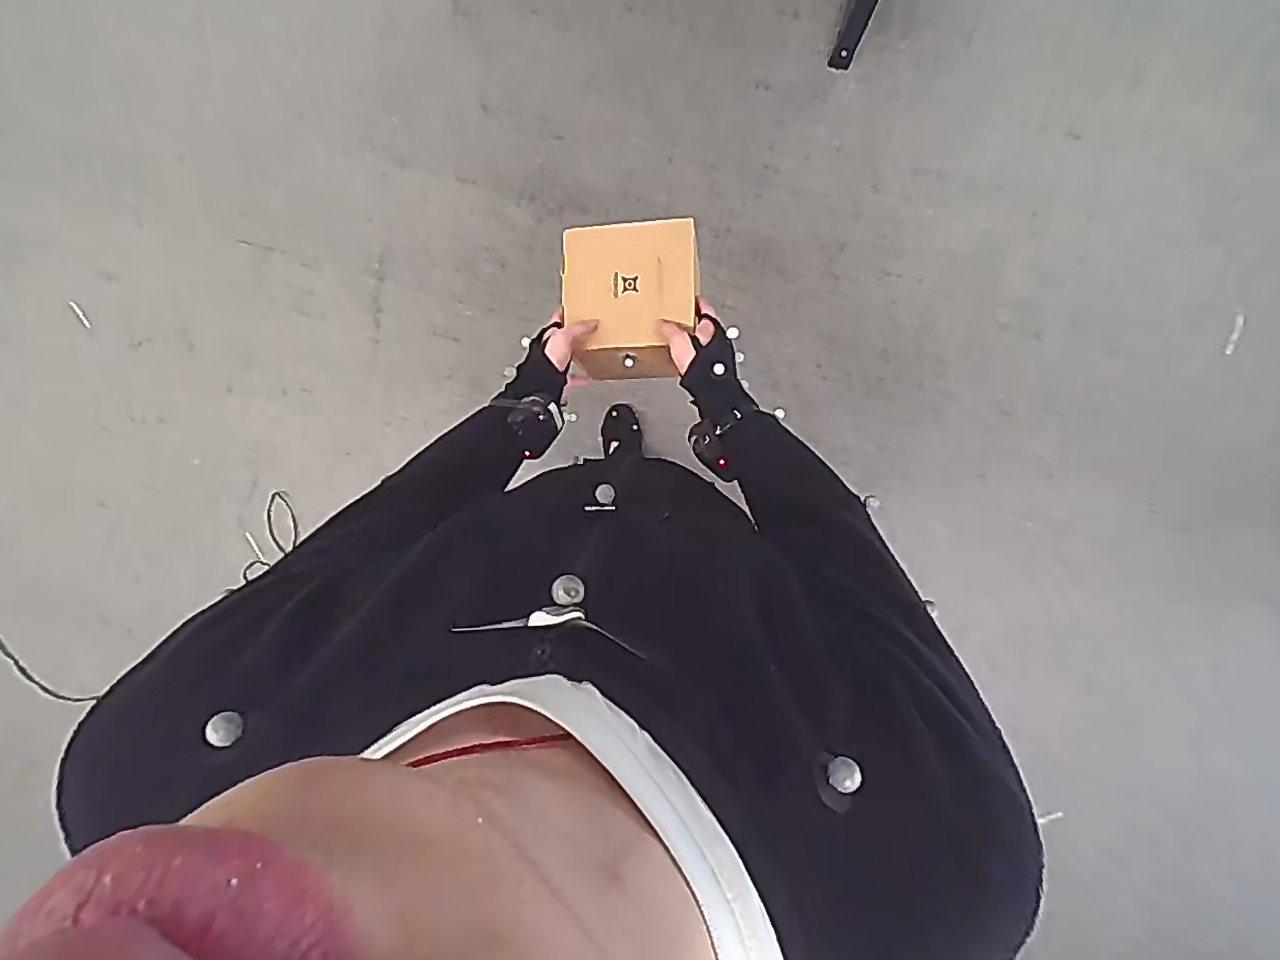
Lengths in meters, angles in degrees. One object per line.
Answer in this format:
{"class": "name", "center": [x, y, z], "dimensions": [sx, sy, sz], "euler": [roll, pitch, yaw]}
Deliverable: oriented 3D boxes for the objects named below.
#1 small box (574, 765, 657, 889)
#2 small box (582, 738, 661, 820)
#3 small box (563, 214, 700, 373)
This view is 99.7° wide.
{"class": "small box", "center": [-0.054, 0.869, 1.368], "dimensions": [0.168, 0.176, 0.179], "euler": [16, 94, 1]}
{"class": "small box", "center": [-0.047, 0.865, 1.533], "dimensions": [0.179, 0.176, 0.168], "euler": [17, 95, 2]}
{"class": "small box", "center": [-0.004, -0.255, 0.780], "dimensions": [0.179, 0.176, 0.168], "euler": [-2, 87, 7]}
